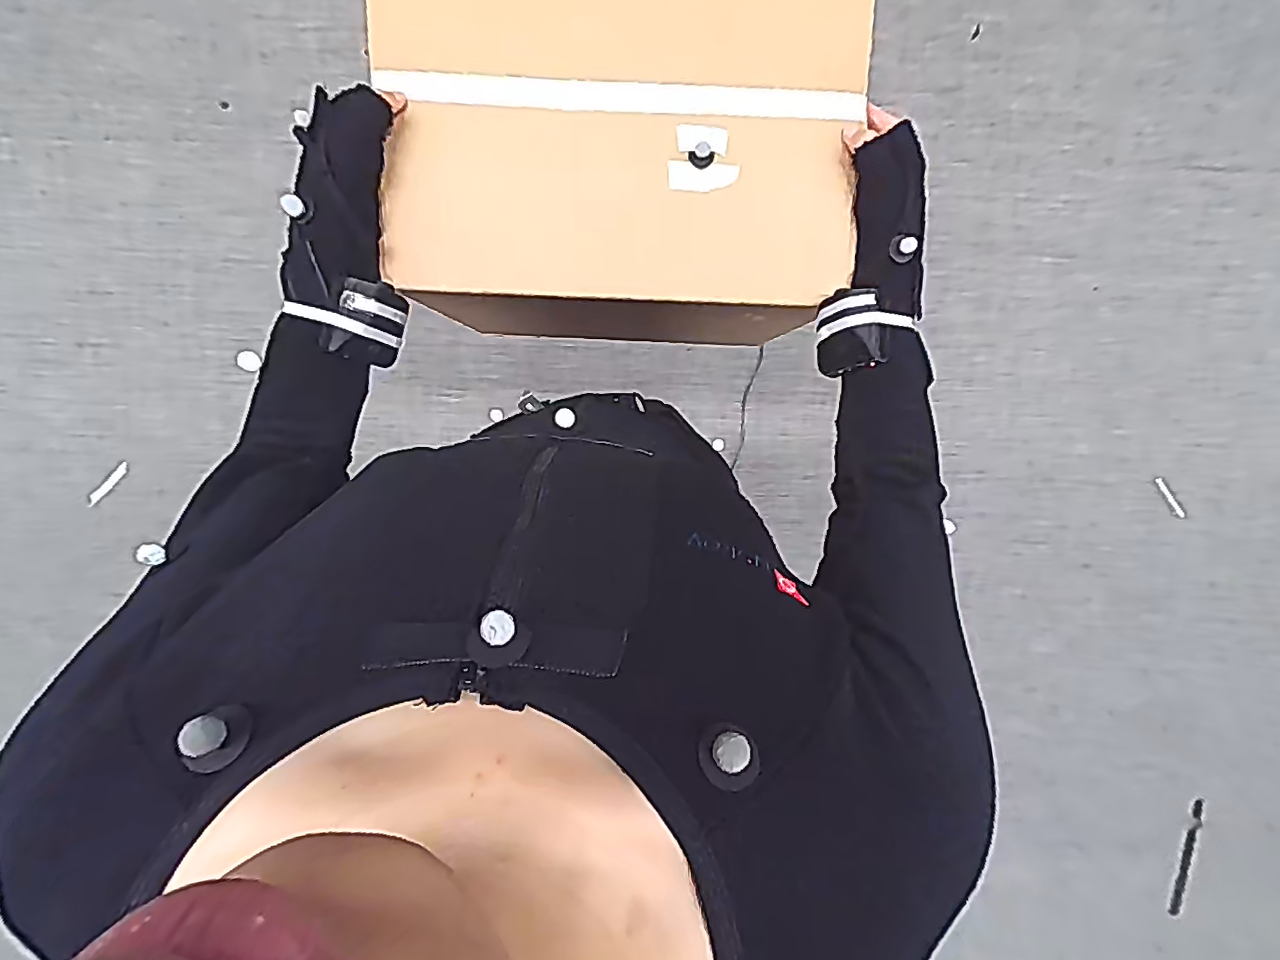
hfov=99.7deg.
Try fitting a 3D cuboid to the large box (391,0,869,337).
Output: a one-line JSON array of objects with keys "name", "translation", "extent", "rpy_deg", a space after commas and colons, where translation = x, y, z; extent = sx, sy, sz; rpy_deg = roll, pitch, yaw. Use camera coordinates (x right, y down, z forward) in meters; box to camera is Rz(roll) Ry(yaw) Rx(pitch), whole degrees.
[{"name": "large box", "translation": [-0.014, -0.340, 0.604], "extent": [0.408, 0.320, 0.320], "rpy_deg": [2, 98, -2]}]
